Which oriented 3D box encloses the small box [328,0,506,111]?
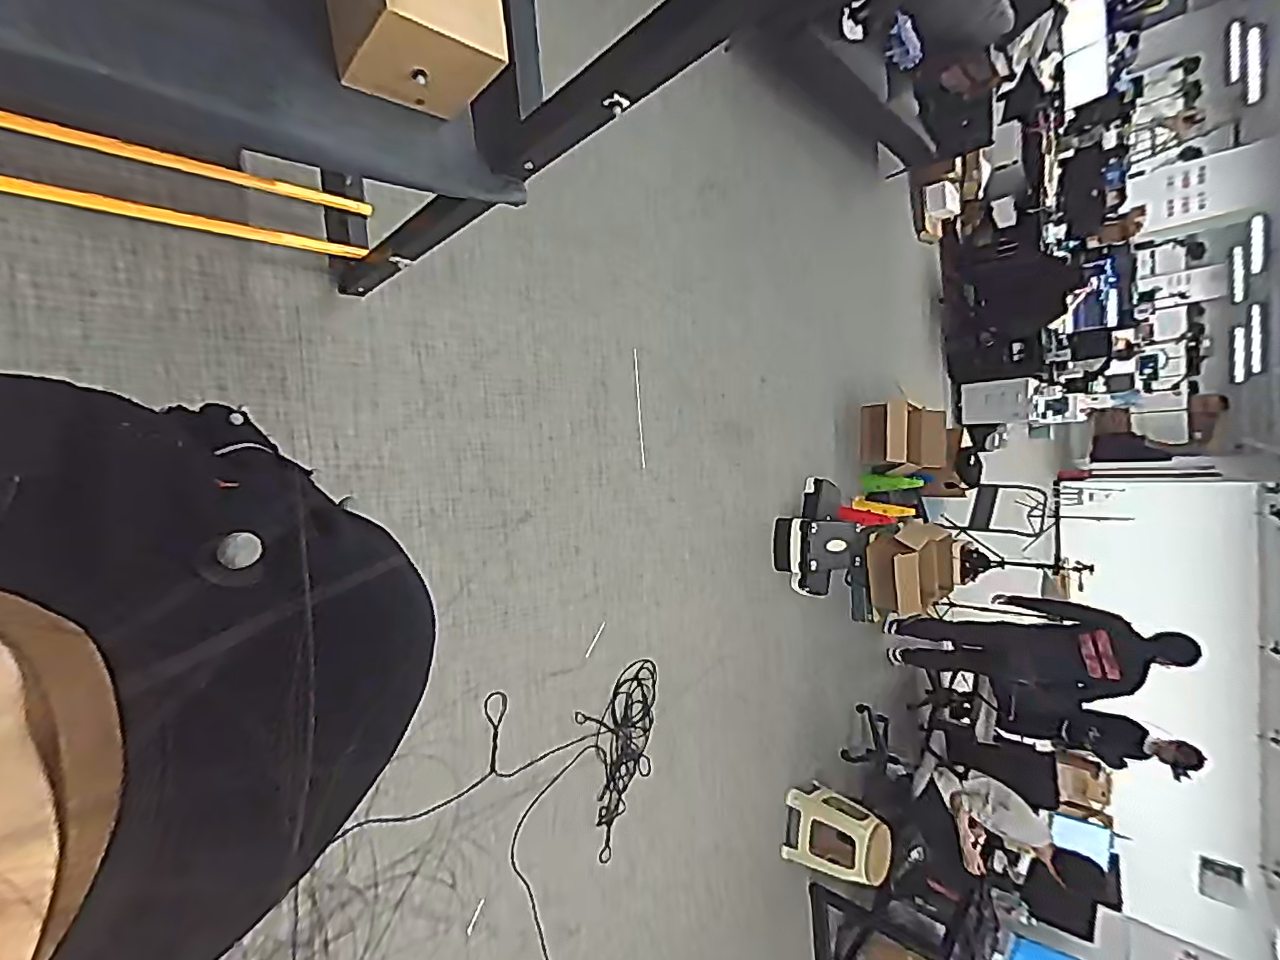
[{"bbox_3d":[-0.305,-0.643,0.727,0.168,0.176,0.179,-13,98,-46],"label":"small box"}]
